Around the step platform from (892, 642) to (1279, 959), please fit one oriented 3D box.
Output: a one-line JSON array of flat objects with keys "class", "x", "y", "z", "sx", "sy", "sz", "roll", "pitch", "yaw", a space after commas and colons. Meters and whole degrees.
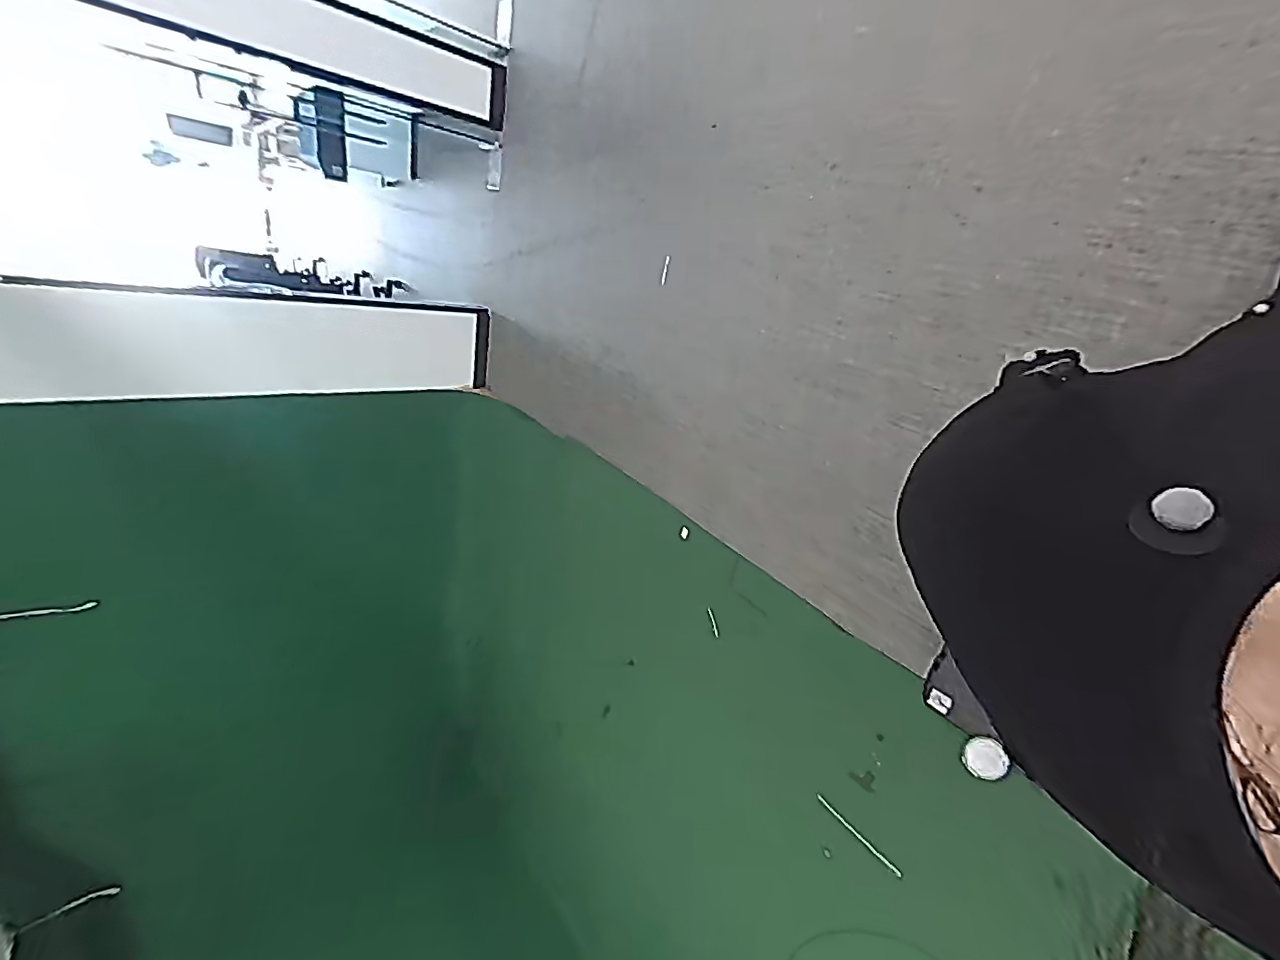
[{"class": "step platform", "x": 0.868, "y": 0.620, "z": 1.026, "sx": 0.684, "sy": 0.204, "sz": 0.286, "roll": 33, "pitch": 121, "yaw": 40}]
